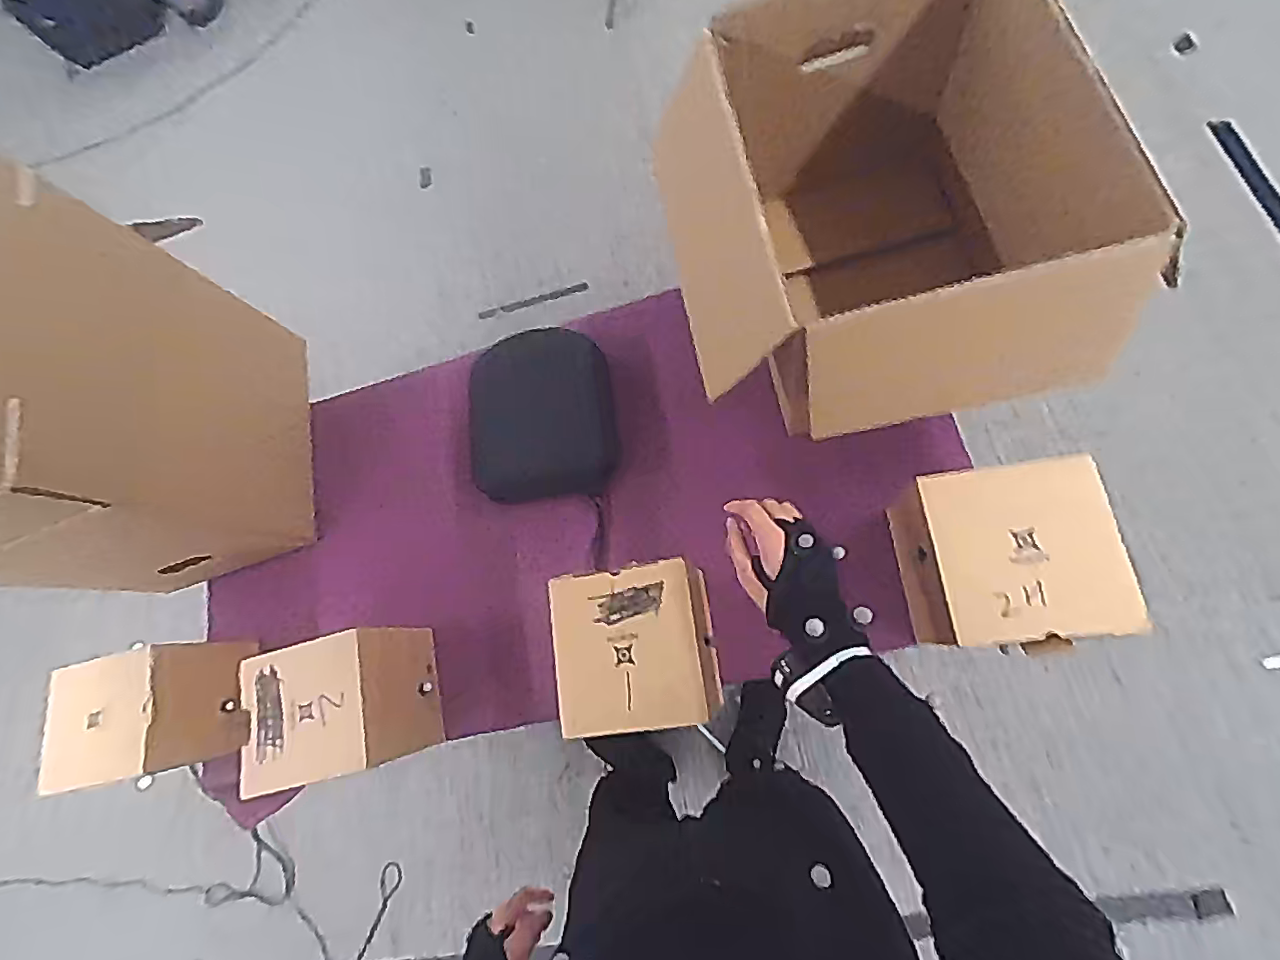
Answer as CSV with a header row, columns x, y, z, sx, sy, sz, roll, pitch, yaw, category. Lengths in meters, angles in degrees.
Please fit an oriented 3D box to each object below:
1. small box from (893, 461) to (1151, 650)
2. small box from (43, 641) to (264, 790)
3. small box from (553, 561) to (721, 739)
x,y,z,sx,sy,sz,roll,pitch,yaw,category
0.398,0.095,0.606,0.168,0.176,0.179,-8,73,12,small box
-0.709,0.340,0.806,0.179,0.176,0.168,-15,72,8,small box
0.003,0.207,0.672,0.168,0.176,0.179,-11,73,11,small box
